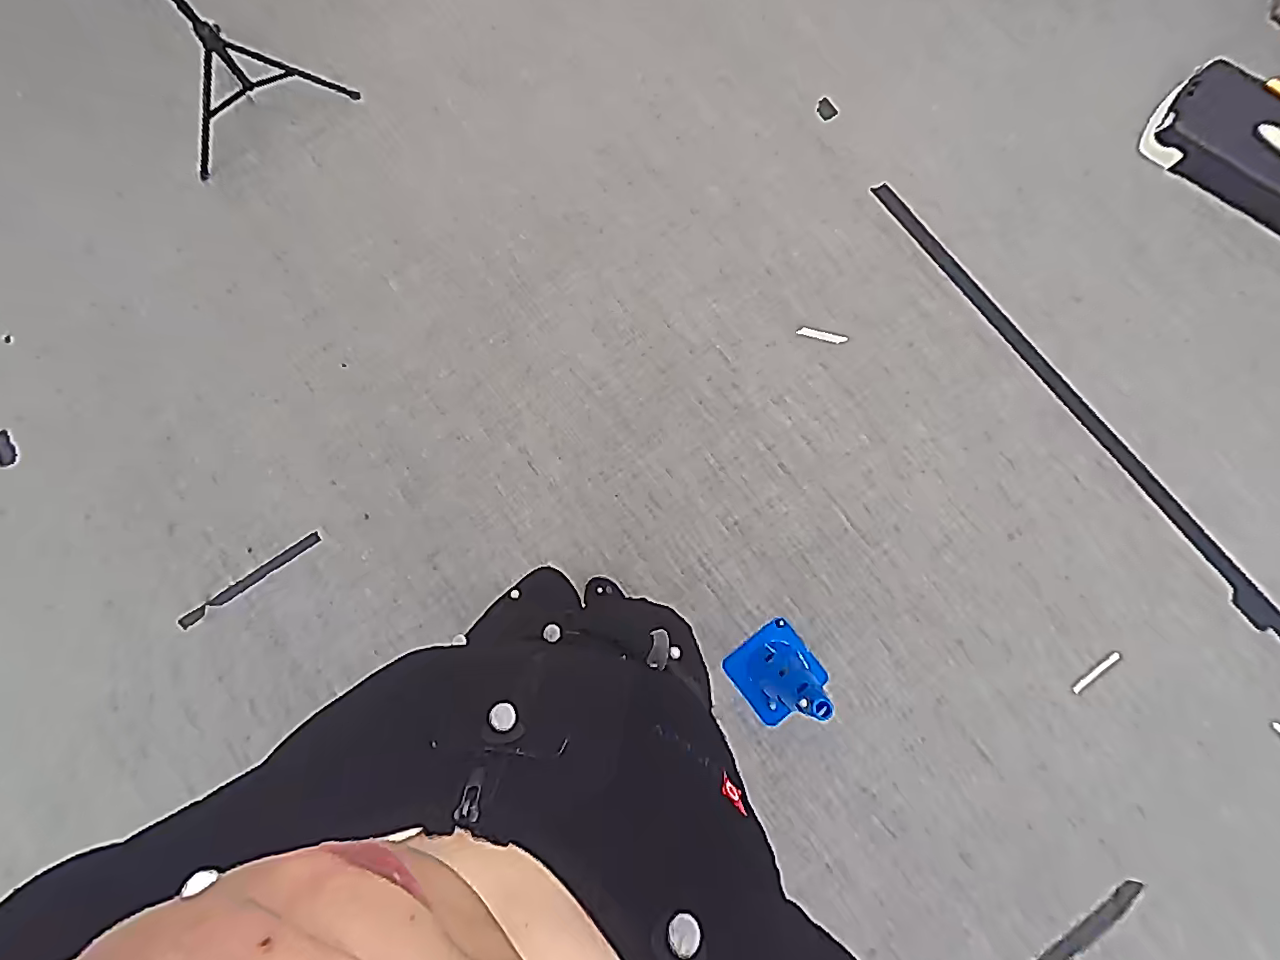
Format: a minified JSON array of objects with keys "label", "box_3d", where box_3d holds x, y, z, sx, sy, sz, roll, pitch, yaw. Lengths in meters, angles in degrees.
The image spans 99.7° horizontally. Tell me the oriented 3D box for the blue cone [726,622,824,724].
[{"label":"blue cone","box_3d":[0.327,0.446,1.161,0.193,0.380,0.192,-35,82,-5]}]
